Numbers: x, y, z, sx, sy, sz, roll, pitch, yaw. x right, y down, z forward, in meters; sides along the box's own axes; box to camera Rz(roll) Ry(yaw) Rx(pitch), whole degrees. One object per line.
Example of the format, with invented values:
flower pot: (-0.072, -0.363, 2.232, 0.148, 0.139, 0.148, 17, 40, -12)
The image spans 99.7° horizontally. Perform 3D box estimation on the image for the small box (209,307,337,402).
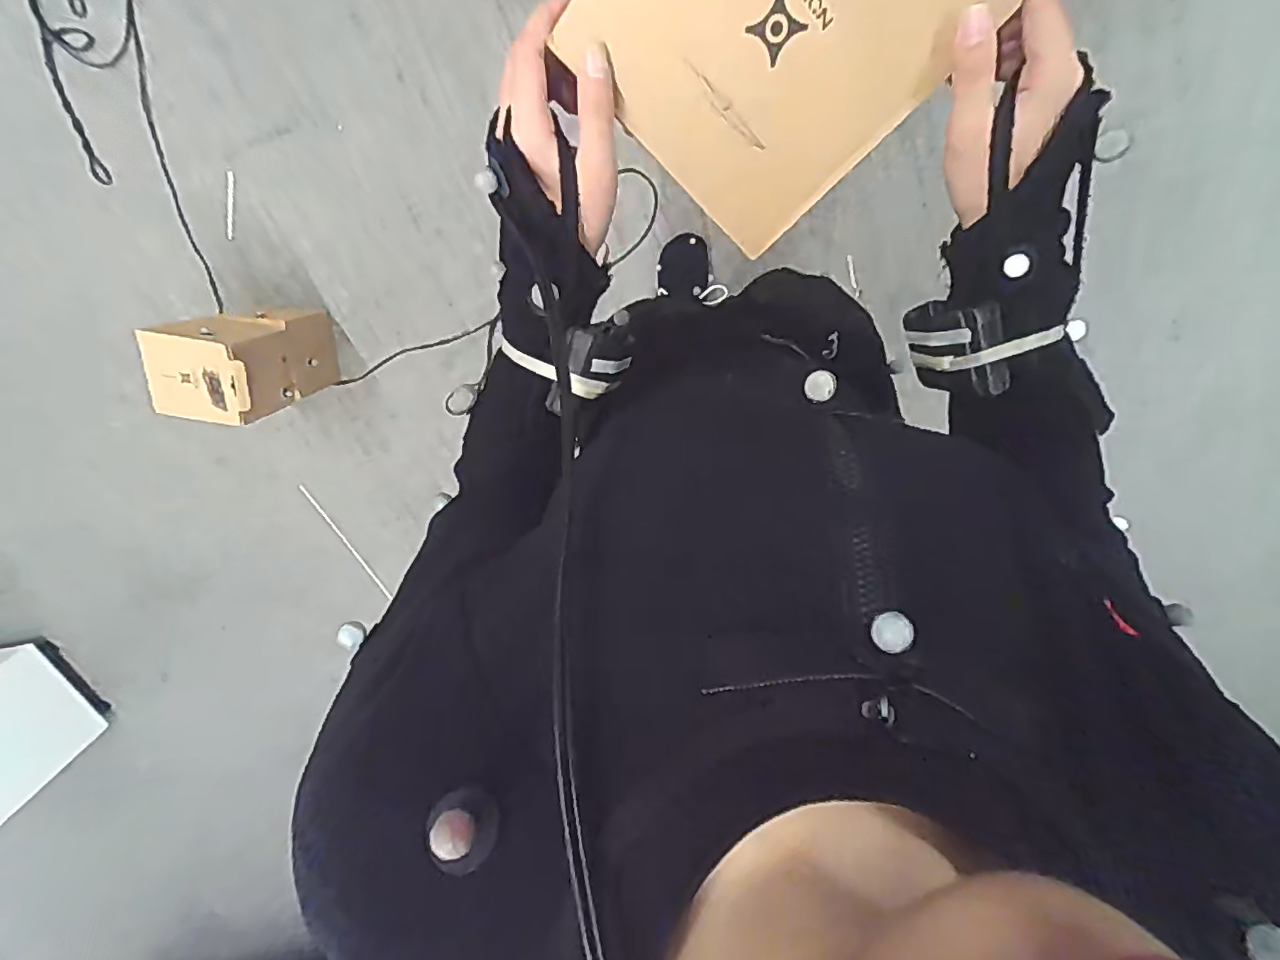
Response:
small box: (-0.830, -0.293, 1.246, 0.168, 0.176, 0.179, 4, 115, 1)

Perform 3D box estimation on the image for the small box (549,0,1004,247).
small box: (0.068, -0.287, 0.323, 0.168, 0.176, 0.179, 34, 124, -26)

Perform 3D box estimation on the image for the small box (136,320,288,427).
small box: (-0.849, -0.222, 1.098, 0.179, 0.176, 0.168, 9, 114, 0)
